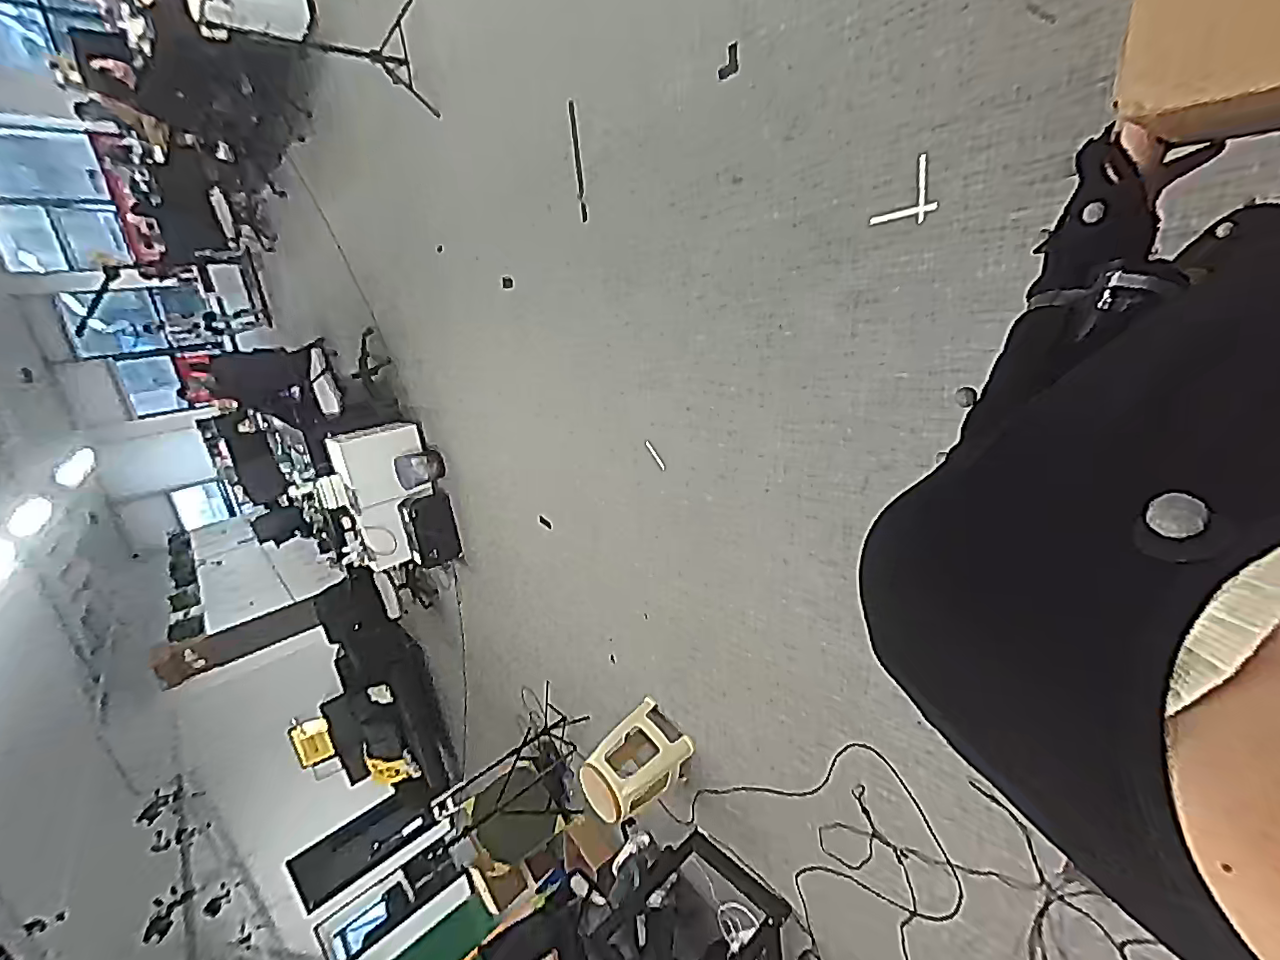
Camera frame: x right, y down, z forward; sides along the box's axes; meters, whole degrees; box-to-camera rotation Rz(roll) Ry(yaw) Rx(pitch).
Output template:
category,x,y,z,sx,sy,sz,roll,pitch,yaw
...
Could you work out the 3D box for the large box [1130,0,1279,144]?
category,x,y,z,sx,sy,sz,roll,pitch,yaw
large box,0.430,-0.320,0.141,0.408,0.320,0.320,13,120,42
